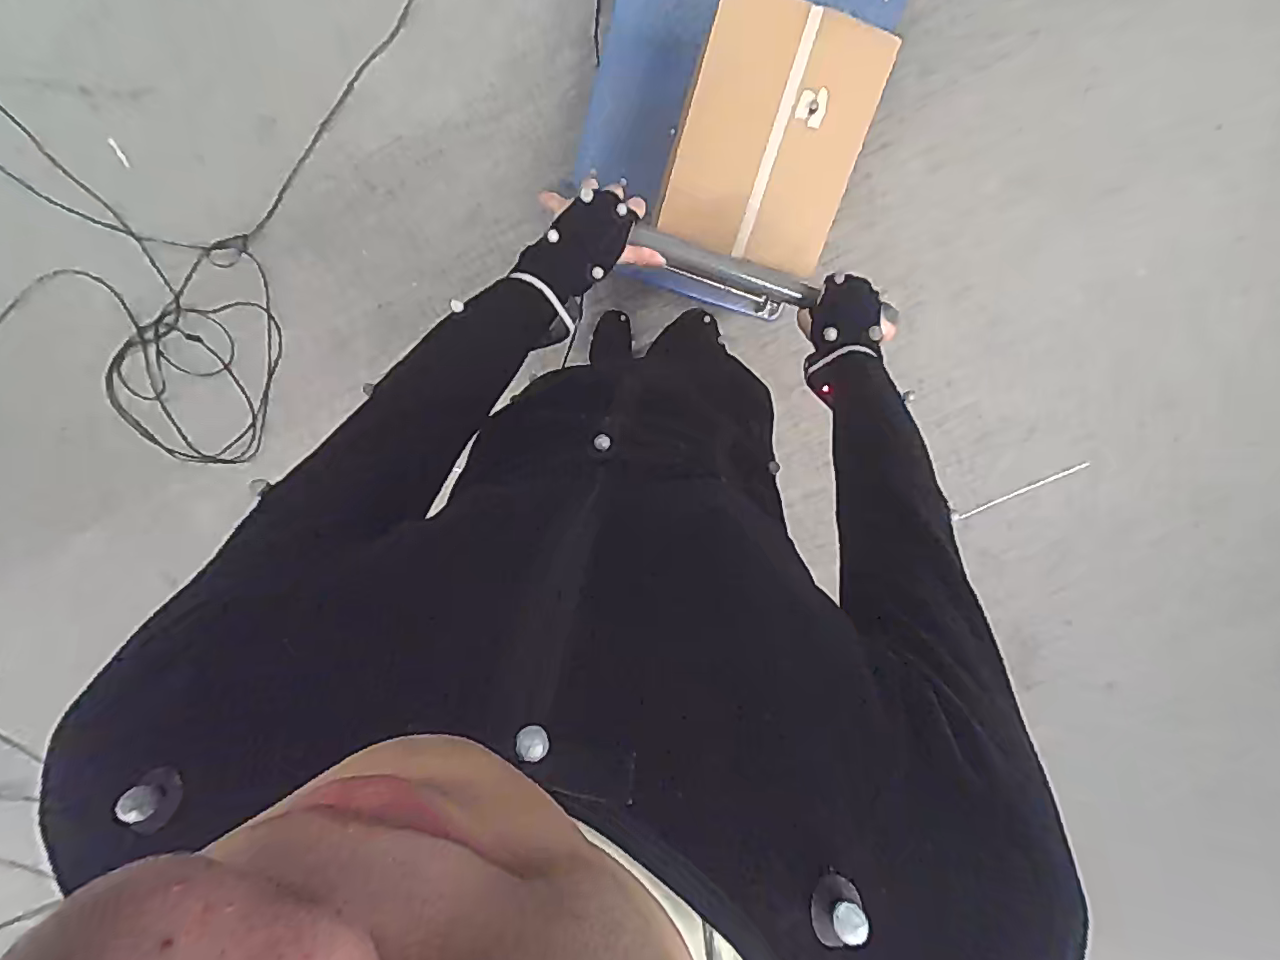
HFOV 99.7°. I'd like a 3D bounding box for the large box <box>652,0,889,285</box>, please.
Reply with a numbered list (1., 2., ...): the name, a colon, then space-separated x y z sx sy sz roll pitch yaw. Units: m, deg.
1. large box: 0.227 -0.646 1.114 0.320 0.320 0.408 15 108 -8
